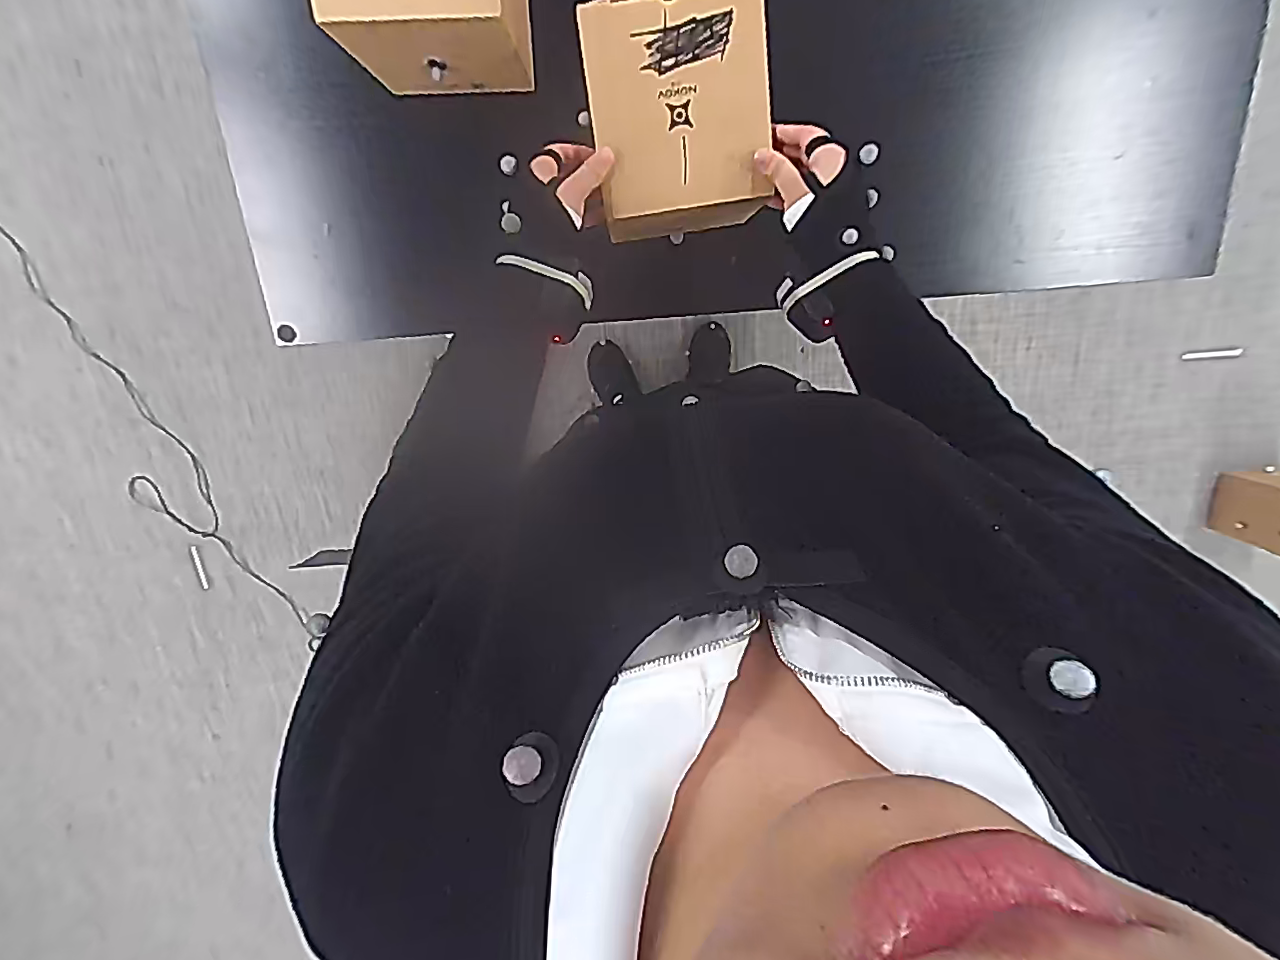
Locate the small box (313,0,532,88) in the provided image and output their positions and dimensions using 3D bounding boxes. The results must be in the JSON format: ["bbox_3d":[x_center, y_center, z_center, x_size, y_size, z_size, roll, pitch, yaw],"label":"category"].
[{"bbox_3d":[-0.206,-0.510,0.527,0.168,0.176,0.179,-2,107,0],"label":"small box"}]

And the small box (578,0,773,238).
[{"bbox_3d":[0.035,-0.370,0.569,0.168,0.176,0.179,-8,107,3],"label":"small box"}]

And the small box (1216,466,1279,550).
[{"bbox_3d":[1.727,0.070,1.455,0.168,0.176,0.179,-5,106,1],"label":"small box"}]
